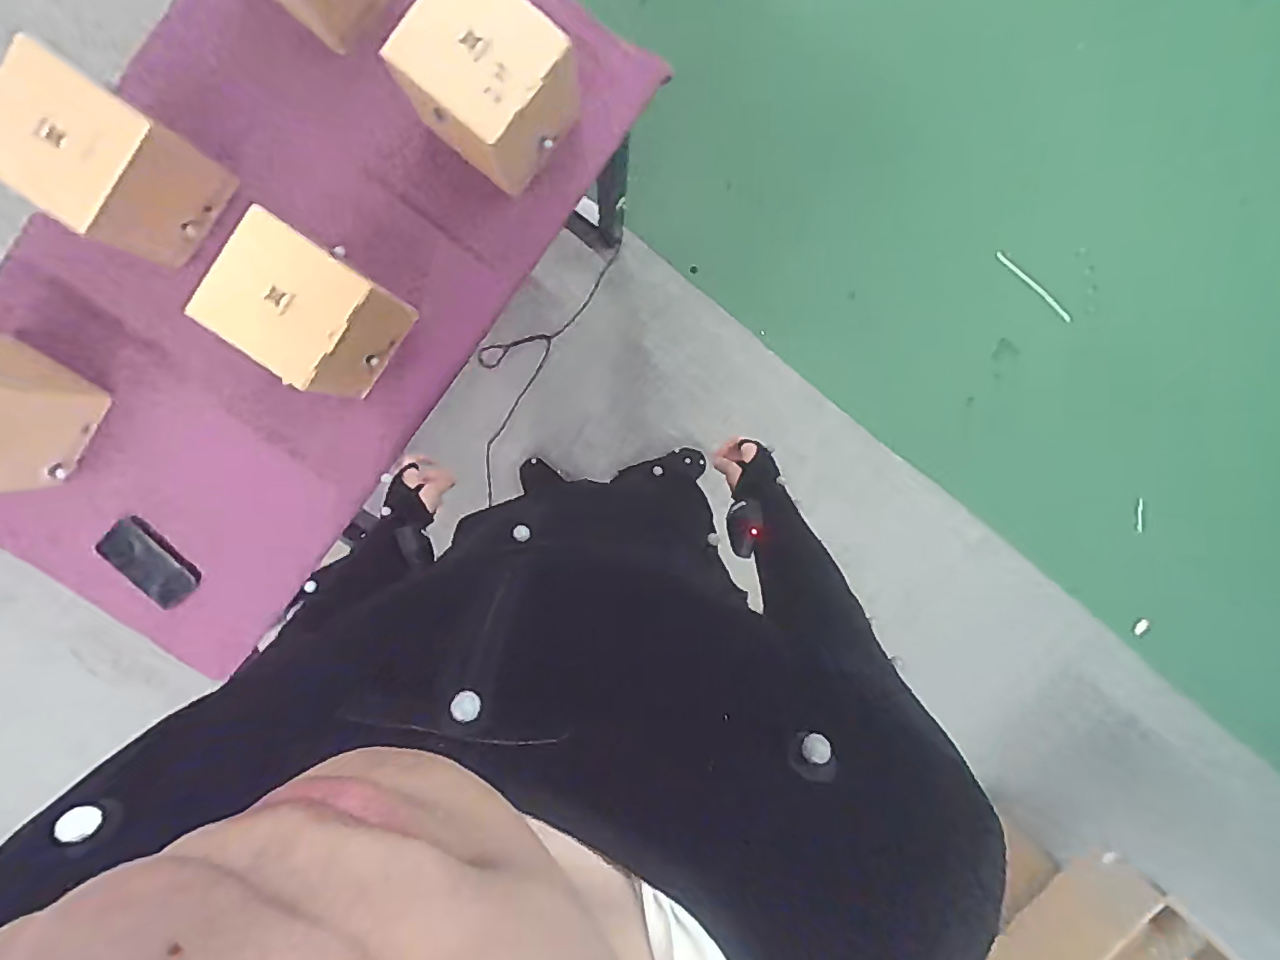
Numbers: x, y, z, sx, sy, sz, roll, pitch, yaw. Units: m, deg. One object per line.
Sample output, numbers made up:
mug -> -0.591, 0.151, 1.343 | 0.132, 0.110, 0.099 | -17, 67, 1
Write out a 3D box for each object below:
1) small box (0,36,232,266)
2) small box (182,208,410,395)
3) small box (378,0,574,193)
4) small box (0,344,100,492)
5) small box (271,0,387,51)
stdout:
small box -> -0.721, -0.421, 0.731 | 0.179, 0.176, 0.168 | 36, 93, -7
small box -> -0.466, -0.234, 0.764 | 0.179, 0.176, 0.168 | 34, 92, -6
small box -> -0.211, -0.542, 0.748 | 0.179, 0.176, 0.168 | 39, 93, -6
small box -> -0.926, -0.091, 0.745 | 0.179, 0.176, 0.168 | 32, 92, -5
small box -> -0.460, -0.738, 0.718 | 0.179, 0.176, 0.168 | 39, 93, -6
